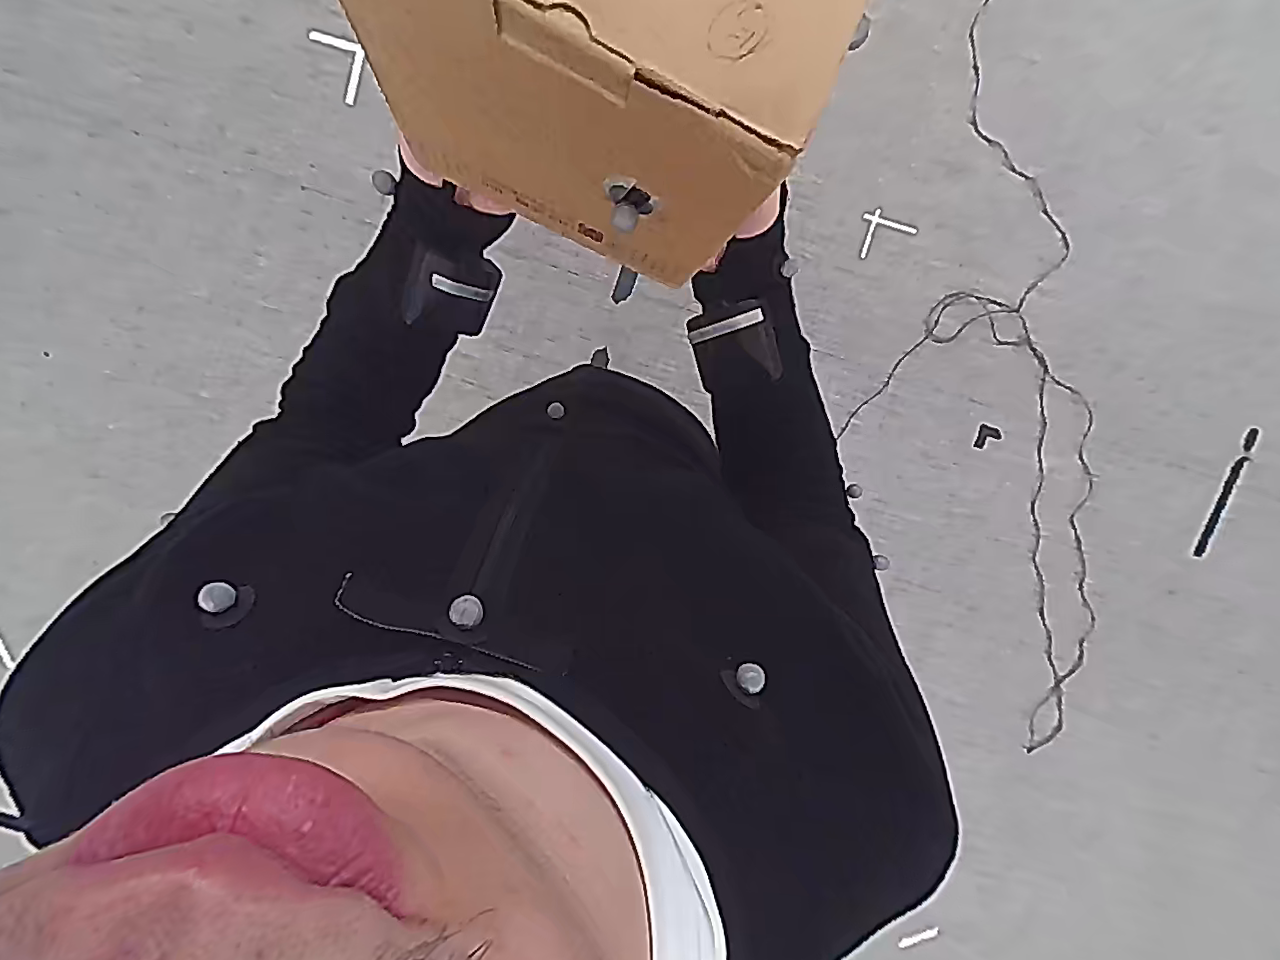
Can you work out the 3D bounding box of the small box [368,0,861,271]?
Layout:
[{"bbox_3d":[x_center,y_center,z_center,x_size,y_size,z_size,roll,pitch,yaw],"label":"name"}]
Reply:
[{"bbox_3d":[-0.003,-0.225,0.248,0.168,0.176,0.179,21,91,-13],"label":"small box"}]
